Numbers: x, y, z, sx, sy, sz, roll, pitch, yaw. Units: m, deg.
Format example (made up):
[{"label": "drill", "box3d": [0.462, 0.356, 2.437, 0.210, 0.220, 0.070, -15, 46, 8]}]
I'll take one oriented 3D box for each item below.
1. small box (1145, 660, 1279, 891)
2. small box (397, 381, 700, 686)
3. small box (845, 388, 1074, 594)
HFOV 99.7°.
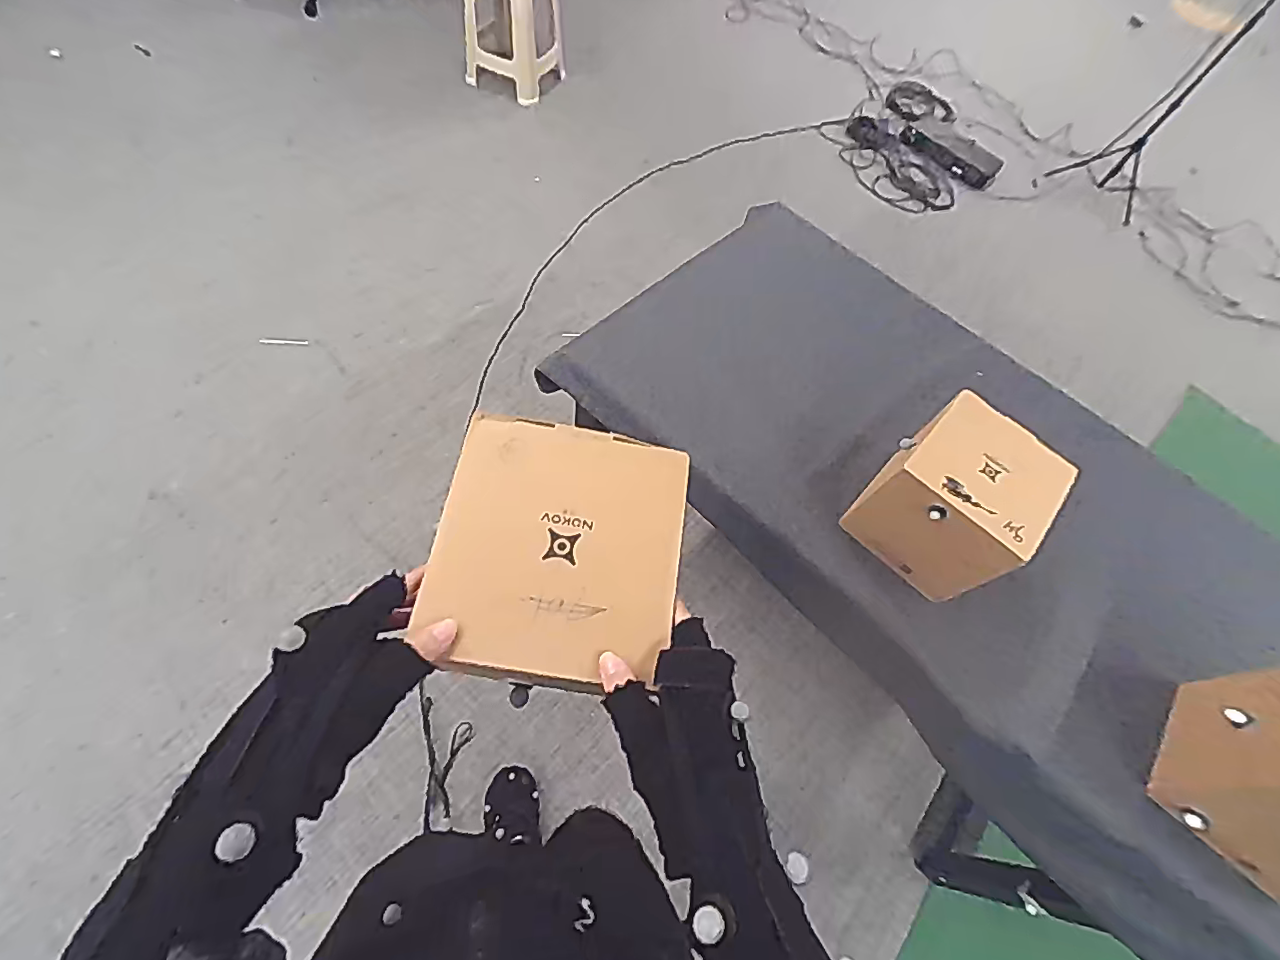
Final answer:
[{"label": "small box", "box3d": [0.726, 0.330, 0.599, 0.168, 0.176, 0.179, 42, 63, 14]}, {"label": "small box", "box3d": [-0.062, 0.055, 0.426, 0.168, 0.176, 0.179, 13, 66, -4]}, {"label": "small box", "box3d": [0.406, 0.019, 0.713, 0.168, 0.176, 0.179, 42, 63, 14]}]
